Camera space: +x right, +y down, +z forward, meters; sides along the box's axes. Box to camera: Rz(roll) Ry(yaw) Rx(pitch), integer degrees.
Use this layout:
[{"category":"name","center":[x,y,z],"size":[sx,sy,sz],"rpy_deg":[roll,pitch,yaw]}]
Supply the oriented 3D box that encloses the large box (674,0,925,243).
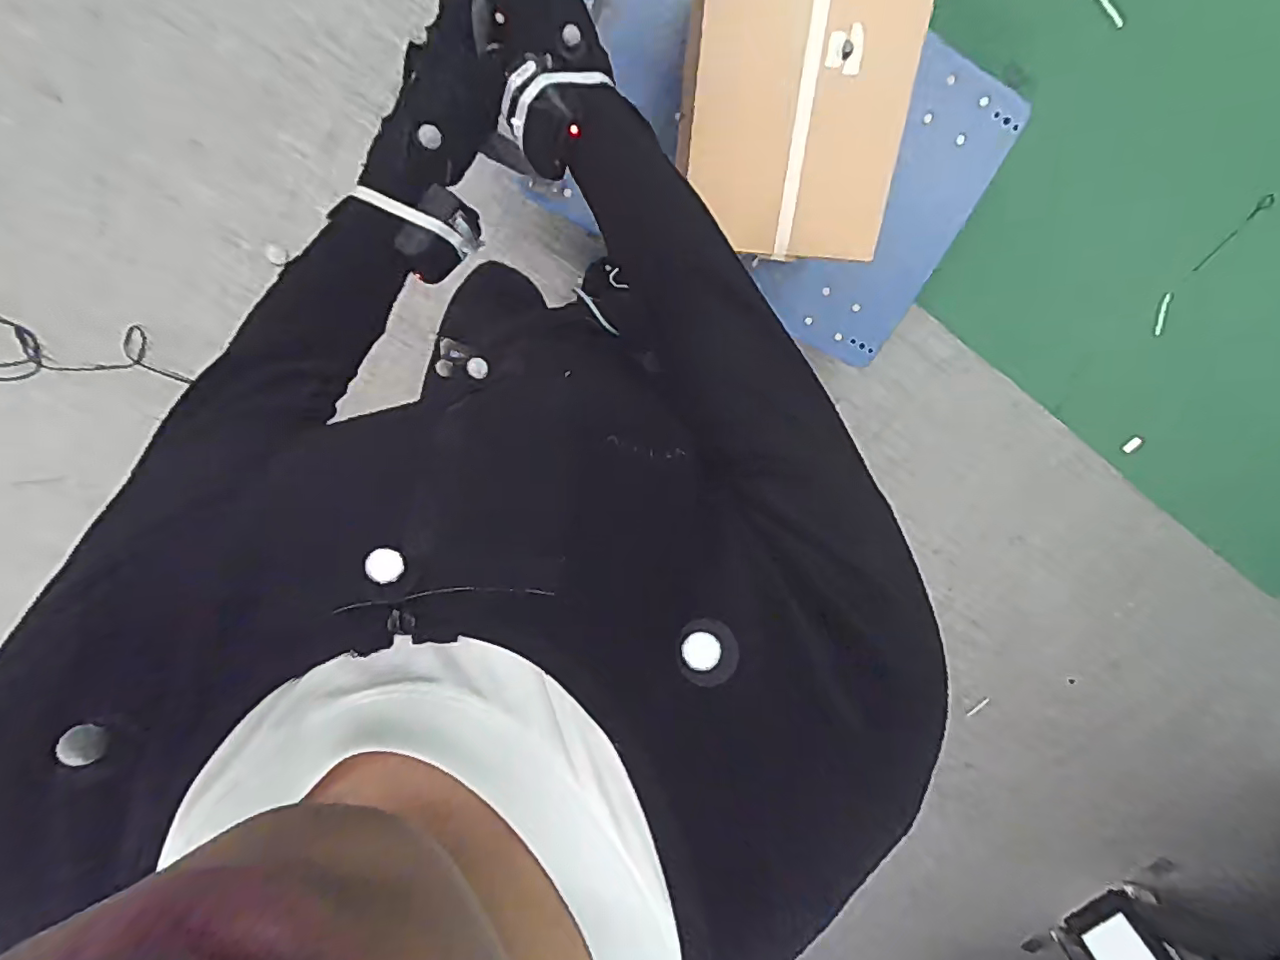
[{"category":"large box","center":[0.229,-0.626,0.914],"size":[0.320,0.320,0.408],"rpy_deg":[4,114,-3]}]
